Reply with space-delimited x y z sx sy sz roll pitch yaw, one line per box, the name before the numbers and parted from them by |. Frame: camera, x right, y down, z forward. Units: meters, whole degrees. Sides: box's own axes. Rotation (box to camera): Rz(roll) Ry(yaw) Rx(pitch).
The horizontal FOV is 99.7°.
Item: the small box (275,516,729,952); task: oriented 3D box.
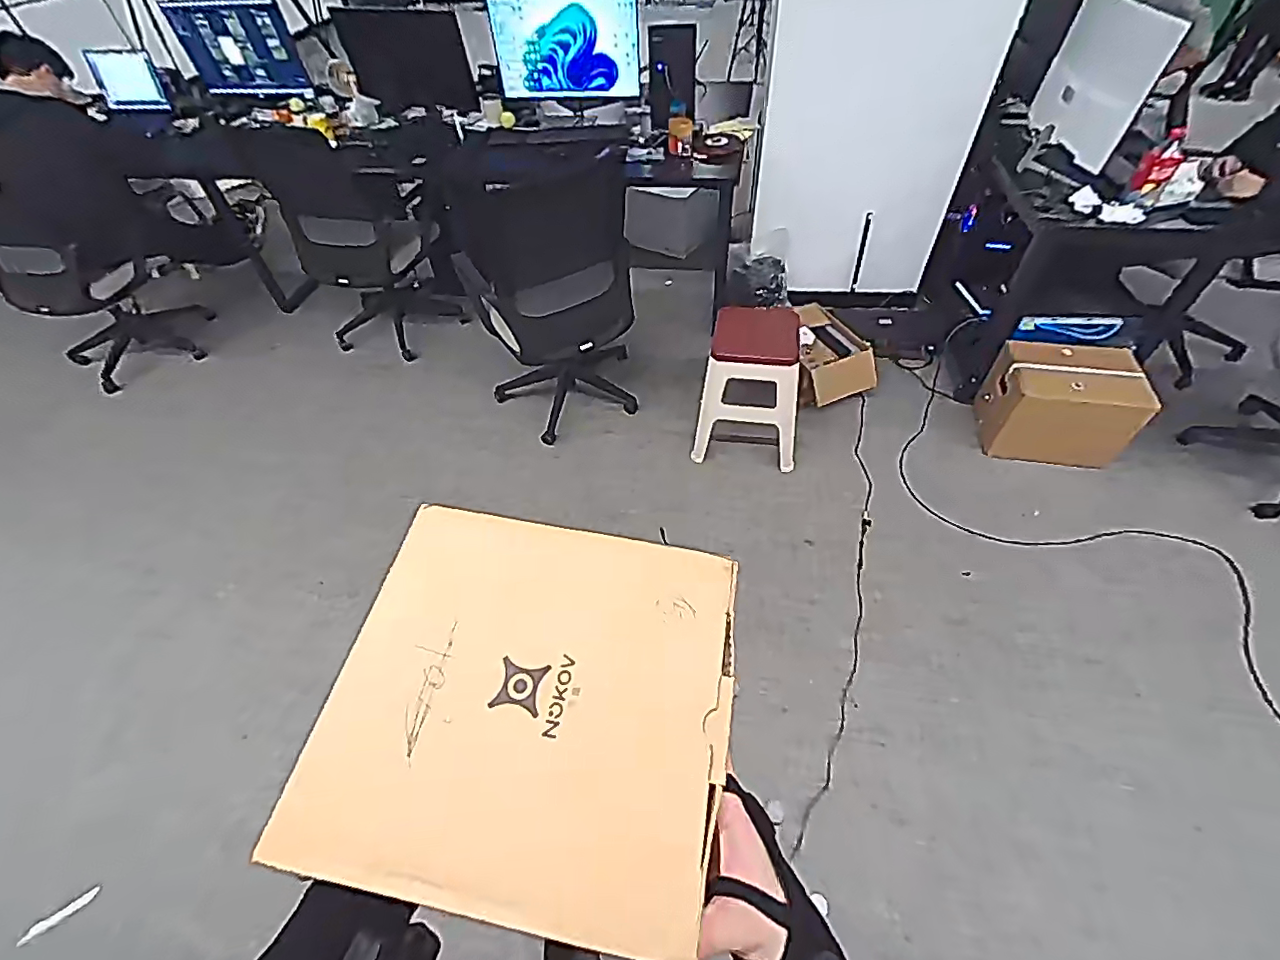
small box | -0.052 0.144 0.324 0.179 0.176 0.168 9 56 7
